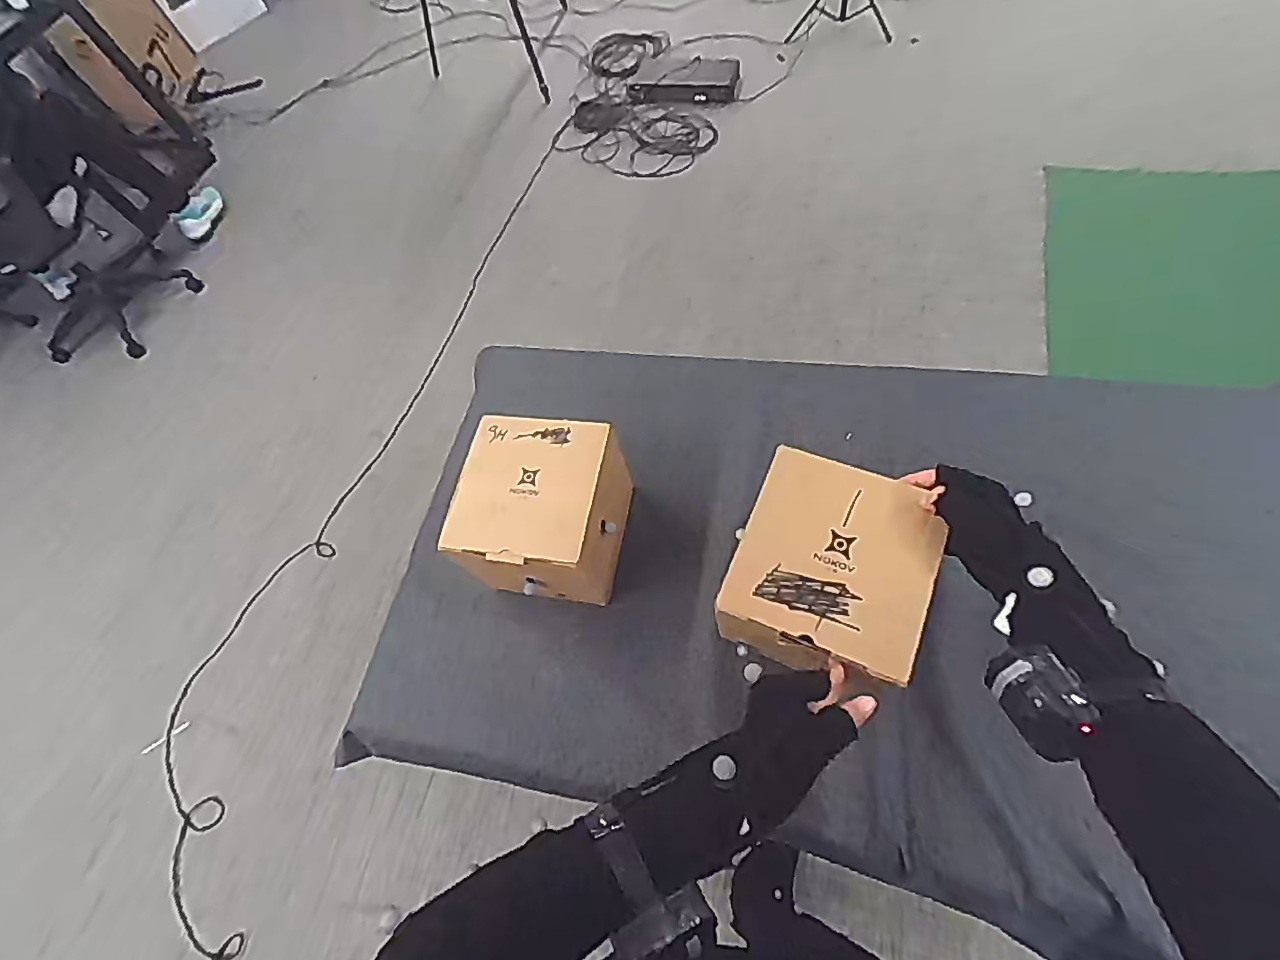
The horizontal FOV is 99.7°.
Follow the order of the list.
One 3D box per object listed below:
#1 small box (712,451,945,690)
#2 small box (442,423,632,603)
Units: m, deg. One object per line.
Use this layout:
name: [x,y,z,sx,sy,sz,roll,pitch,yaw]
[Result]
small box: [0.187,0.101,0.560,0.168,0.176,0.179,18,70,19]
small box: [-0.115,0.047,0.688,0.168,0.176,0.179,5,65,14]
